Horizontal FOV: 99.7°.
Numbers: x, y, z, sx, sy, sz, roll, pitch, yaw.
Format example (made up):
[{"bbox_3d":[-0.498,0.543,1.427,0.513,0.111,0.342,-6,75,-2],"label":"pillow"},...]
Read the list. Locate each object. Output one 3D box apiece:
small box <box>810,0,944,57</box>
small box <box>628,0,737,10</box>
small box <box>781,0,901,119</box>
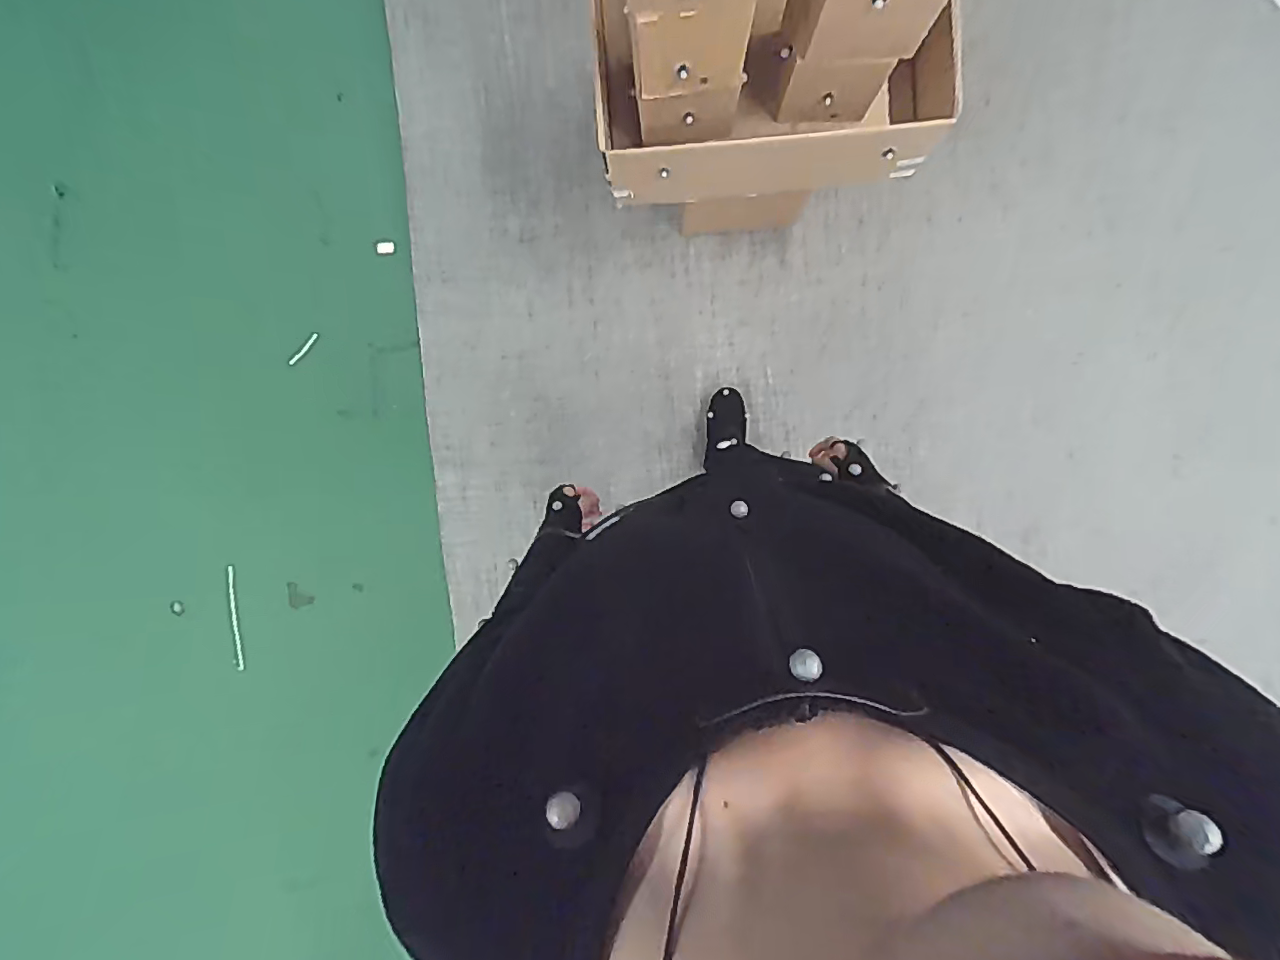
[{"bbox_3d":[0.352,-0.756,0.784,0.179,0.176,0.168,0,93,3],"label":"small box"},{"bbox_3d":[0.064,-0.712,0.642,0.179,0.176,0.168,-2,93,3],"label":"small box"},{"bbox_3d":[0.348,-0.766,0.949,0.168,0.176,0.179,2,93,3],"label":"small box"}]
